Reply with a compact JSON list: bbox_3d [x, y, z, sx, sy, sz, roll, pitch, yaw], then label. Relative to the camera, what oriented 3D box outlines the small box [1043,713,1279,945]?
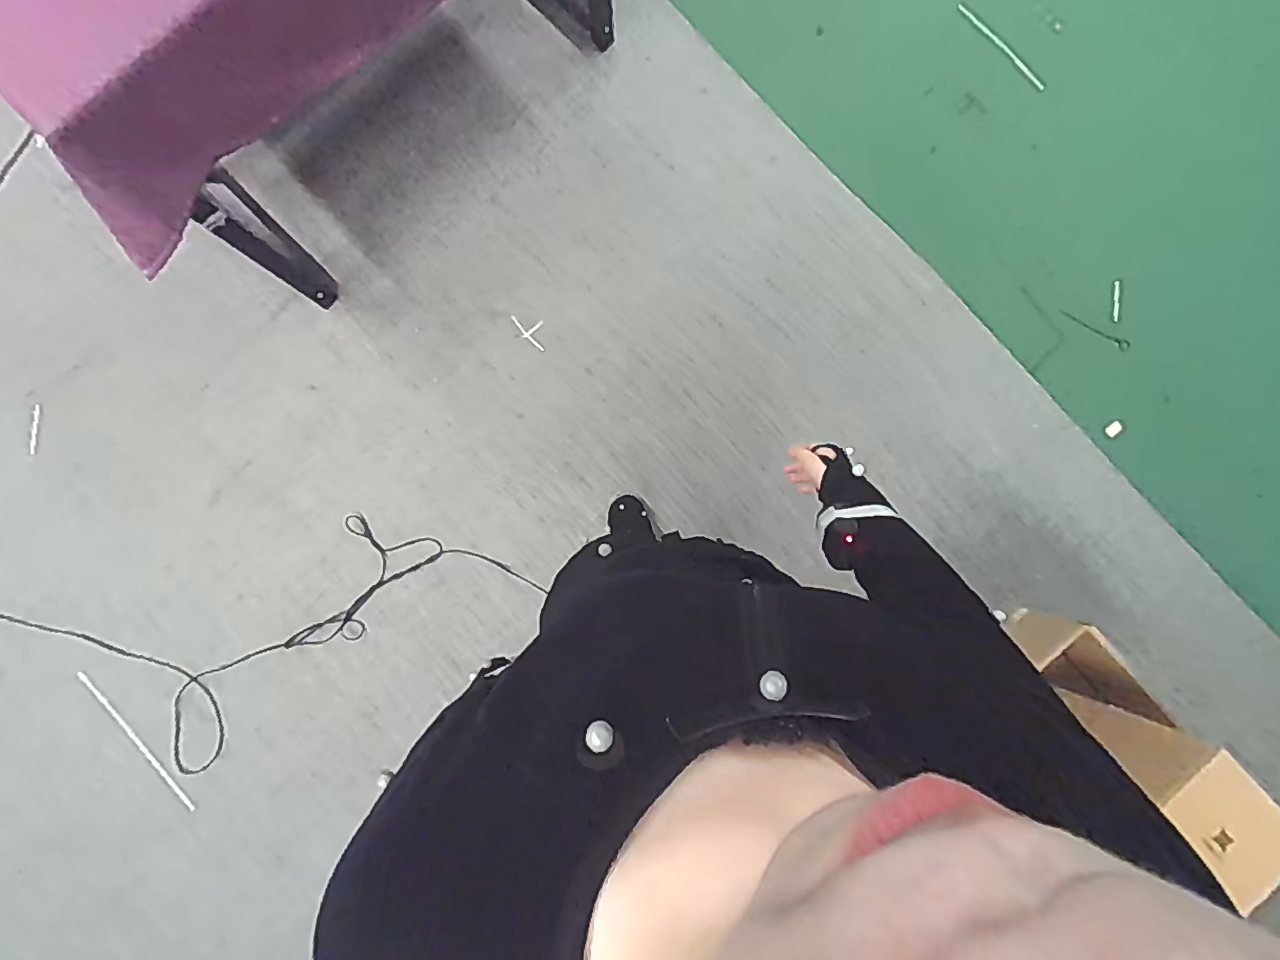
[{"bbox_3d":[0.727,0.463,0.752,0.179,0.176,0.168,-41,86,-1],"label":"small box"}]
